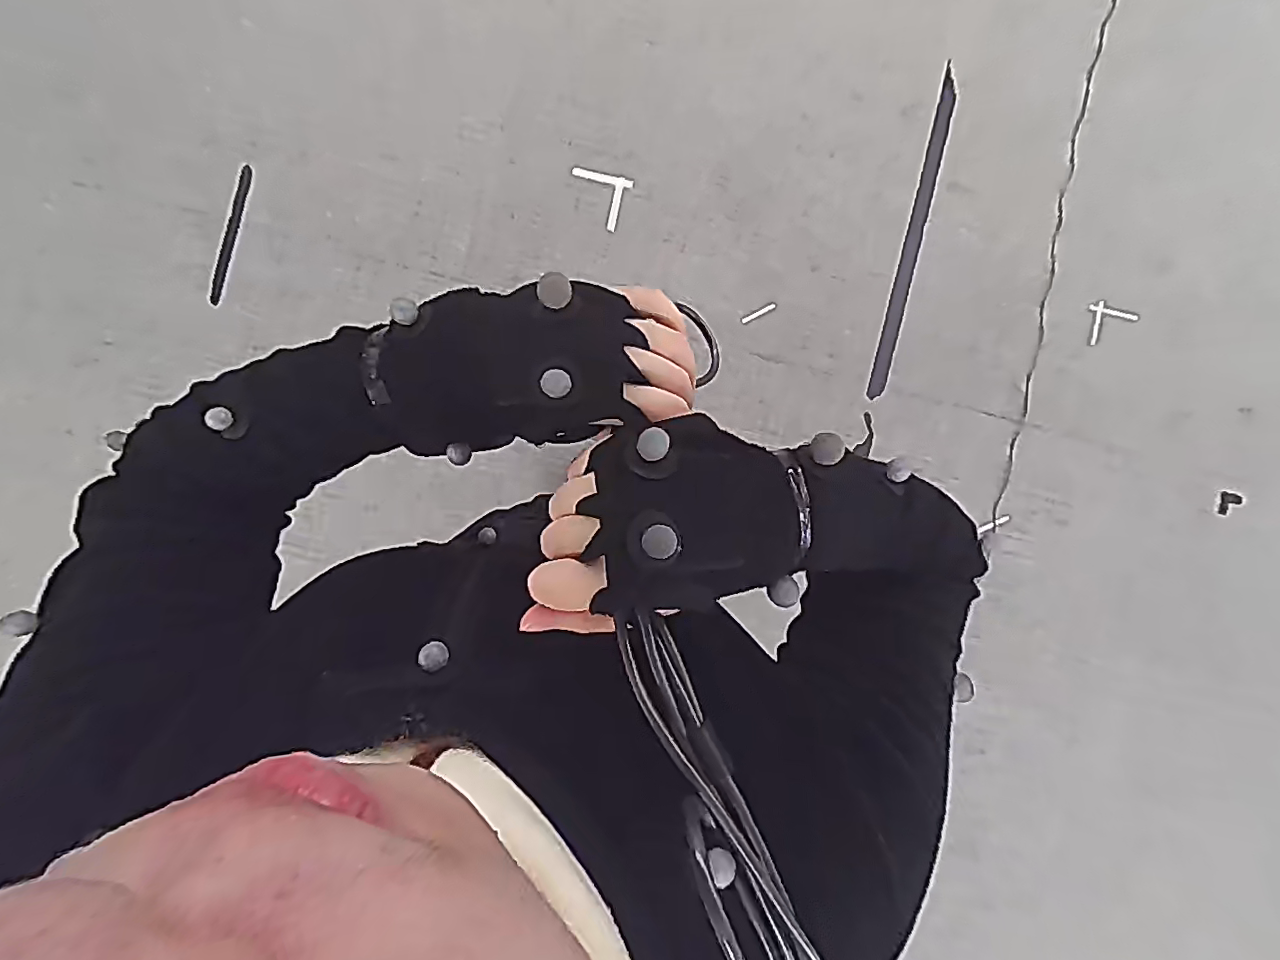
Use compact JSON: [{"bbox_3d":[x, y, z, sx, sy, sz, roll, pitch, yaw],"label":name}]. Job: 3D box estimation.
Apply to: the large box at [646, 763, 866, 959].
[{"bbox_3d":[0.223,0.907,1.161,0.320,0.320,0.408,18,88,-2],"label":"large box"}]
